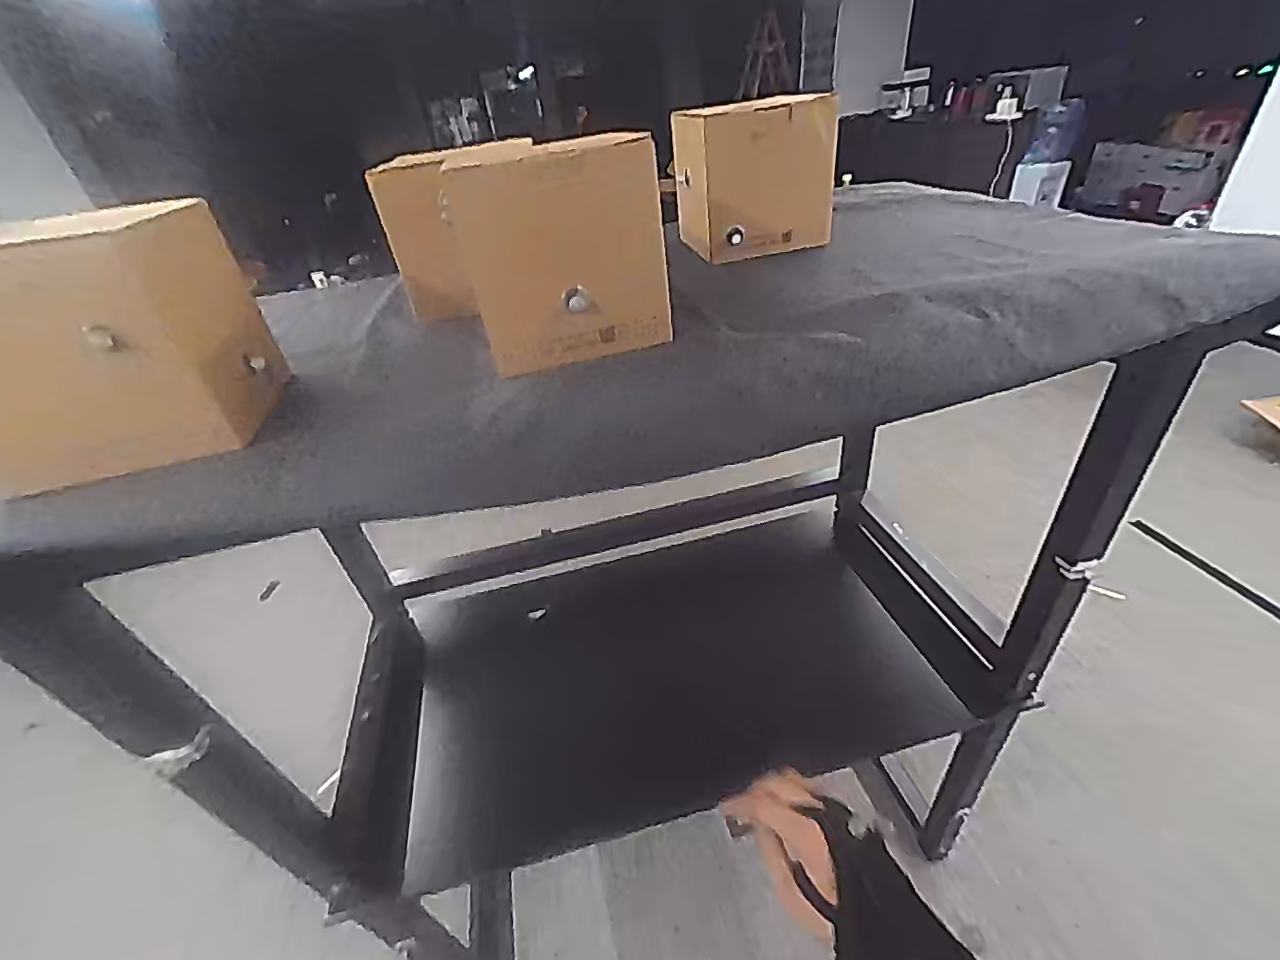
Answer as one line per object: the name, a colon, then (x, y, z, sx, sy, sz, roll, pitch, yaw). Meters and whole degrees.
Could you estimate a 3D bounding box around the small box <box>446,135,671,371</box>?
small box: (-0.074, -0.222, 0.521, 0.168, 0.176, 0.179, -14, 35, -7)

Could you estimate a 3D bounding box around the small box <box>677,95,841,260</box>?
small box: (0.153, -0.408, 0.736, 0.168, 0.176, 0.179, -11, 35, -4)

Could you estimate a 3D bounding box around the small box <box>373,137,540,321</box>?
small box: (-0.198, -0.317, 0.681, 0.179, 0.176, 0.168, -10, 36, -2)
